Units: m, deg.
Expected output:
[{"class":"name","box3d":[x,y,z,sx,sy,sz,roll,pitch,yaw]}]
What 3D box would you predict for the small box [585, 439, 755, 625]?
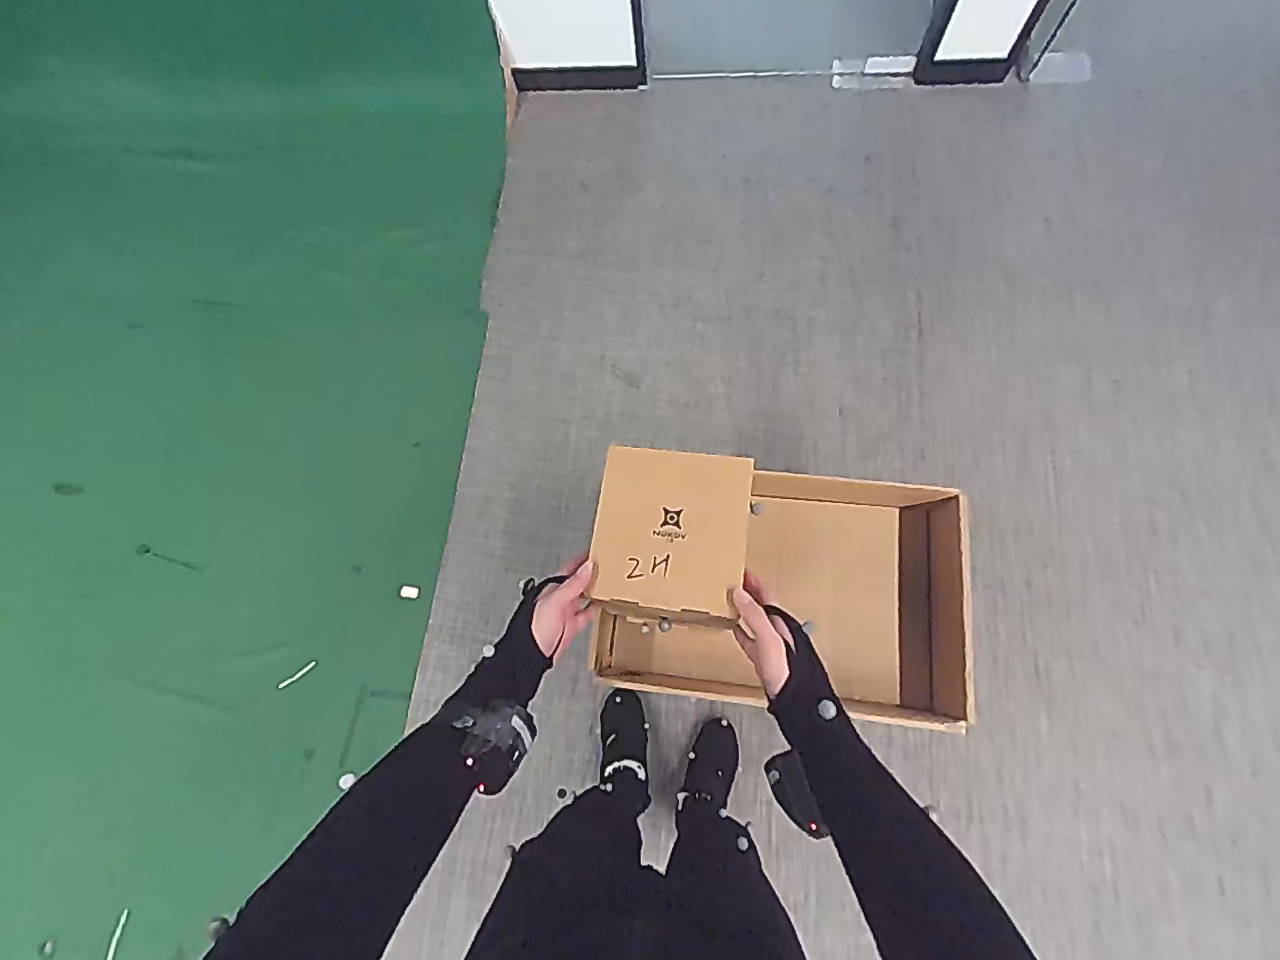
[{"class":"small box","box3d":[0.043,0.070,0.658,0.168,0.176,0.179,7,71,10]}]
